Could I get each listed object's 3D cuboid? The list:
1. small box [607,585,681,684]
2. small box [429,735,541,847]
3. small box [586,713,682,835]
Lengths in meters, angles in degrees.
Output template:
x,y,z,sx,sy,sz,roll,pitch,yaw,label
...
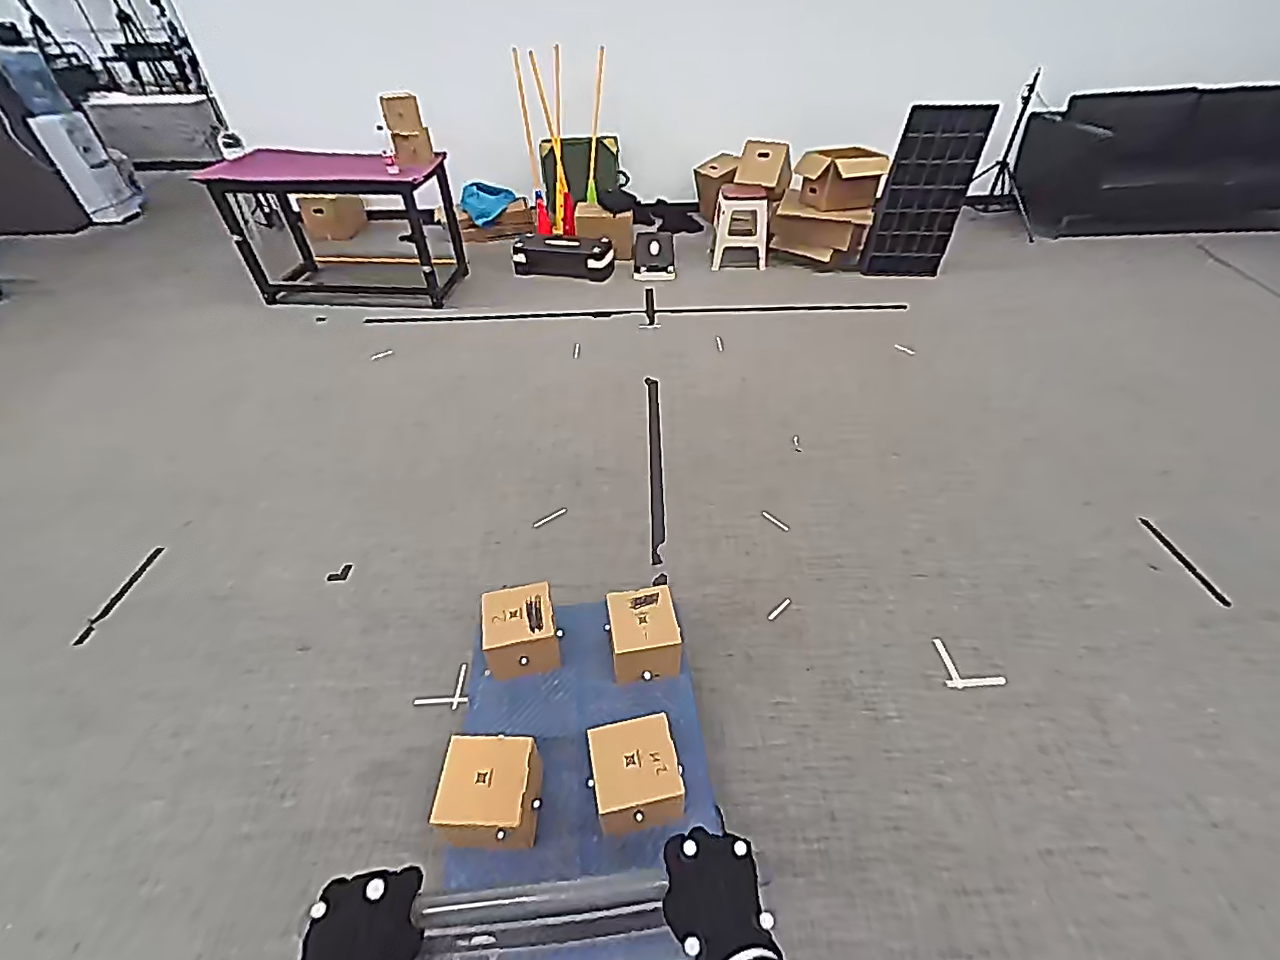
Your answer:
x,y,z,sx,sy,sz,roll,pitch,yaw,label
0.007,0.400,1.402,0.168,0.176,0.179,-7,44,-6,small box
-0.315,0.656,1.137,0.179,0.176,0.168,1,43,0,small box
-0.013,0.631,1.156,0.179,0.176,0.168,-9,44,-8,small box
